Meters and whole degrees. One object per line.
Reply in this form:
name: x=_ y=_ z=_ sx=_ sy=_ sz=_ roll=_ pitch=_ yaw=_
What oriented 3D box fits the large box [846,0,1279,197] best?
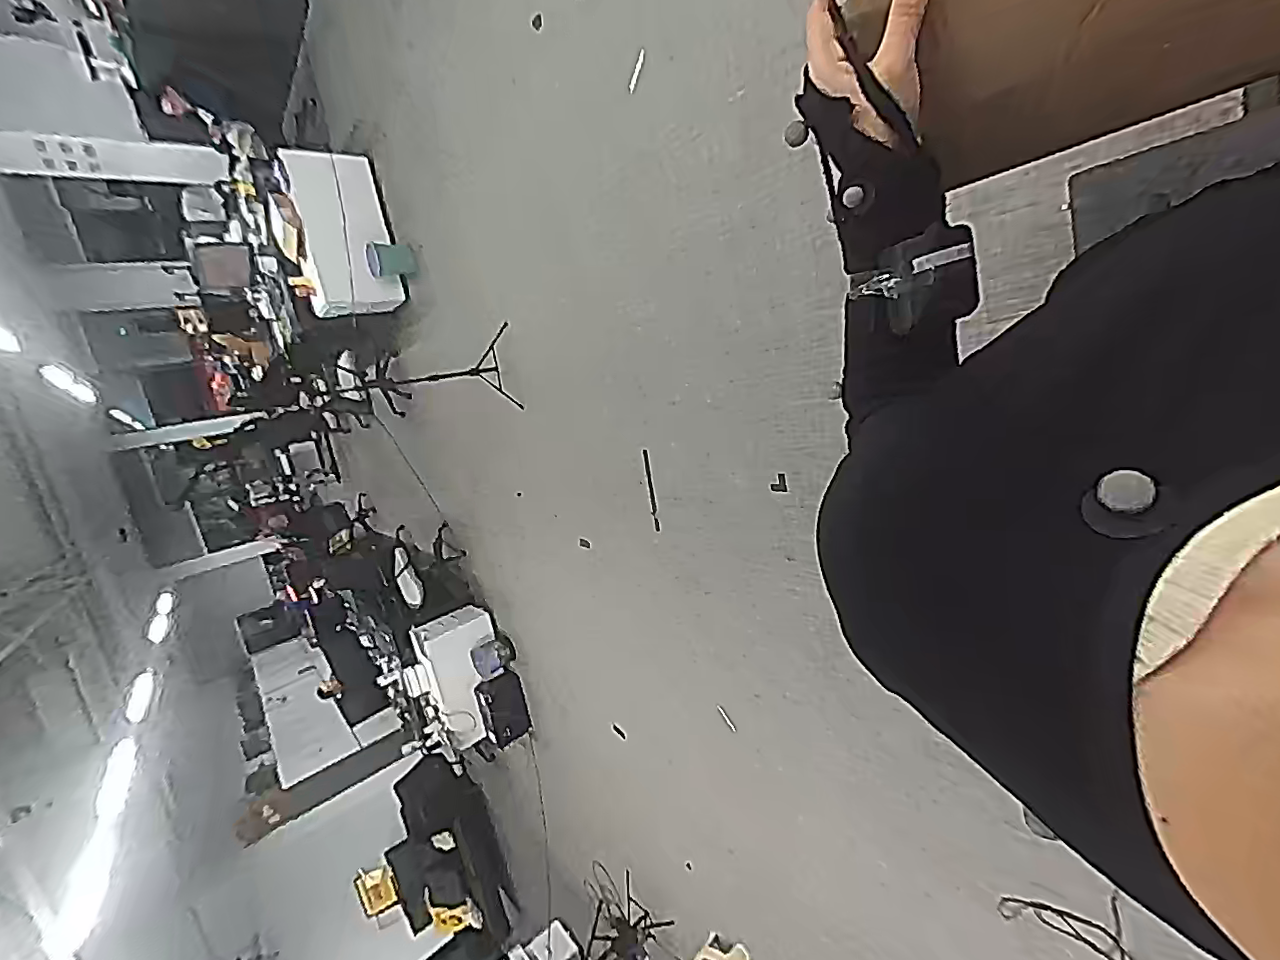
large box: x=0.320 y=-0.427 z=0.247 sx=0.408 sy=0.320 sz=0.320 roll=0 pitch=145 yaw=49
